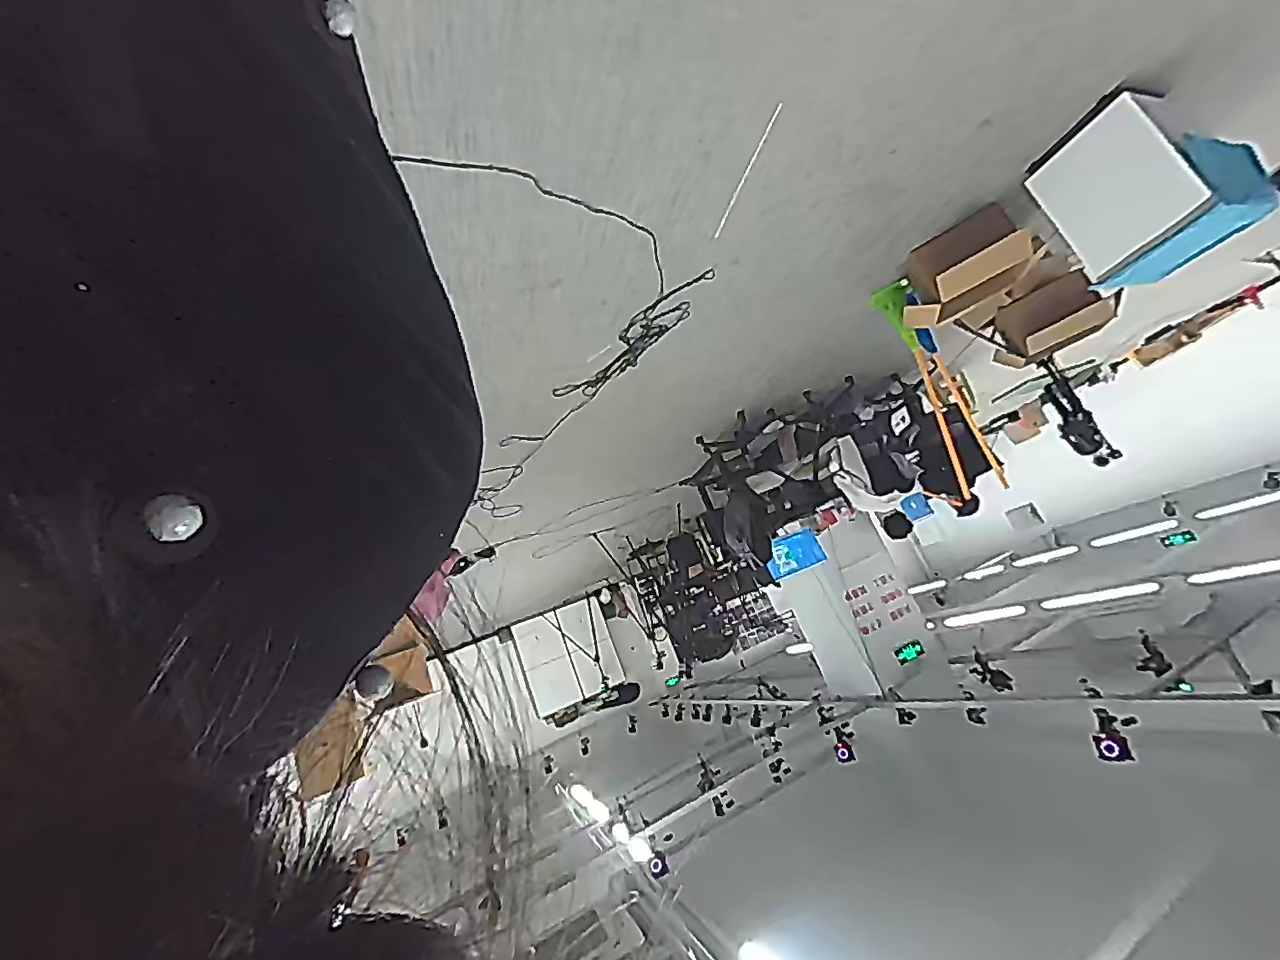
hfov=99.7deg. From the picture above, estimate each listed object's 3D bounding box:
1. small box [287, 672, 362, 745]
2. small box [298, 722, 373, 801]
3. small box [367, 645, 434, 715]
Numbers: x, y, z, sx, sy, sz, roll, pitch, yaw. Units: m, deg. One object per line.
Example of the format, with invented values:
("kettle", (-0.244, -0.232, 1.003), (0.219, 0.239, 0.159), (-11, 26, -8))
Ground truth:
("small box", (-1.038, 0.747, 1.775), (0.179, 0.176, 0.168), (-15, 165, -24))
("small box", (-0.978, 0.894, 1.734), (0.179, 0.176, 0.168), (-15, 164, -24))
("small box", (-0.850, 0.703, 1.907), (0.179, 0.176, 0.168), (-12, 161, -36))
